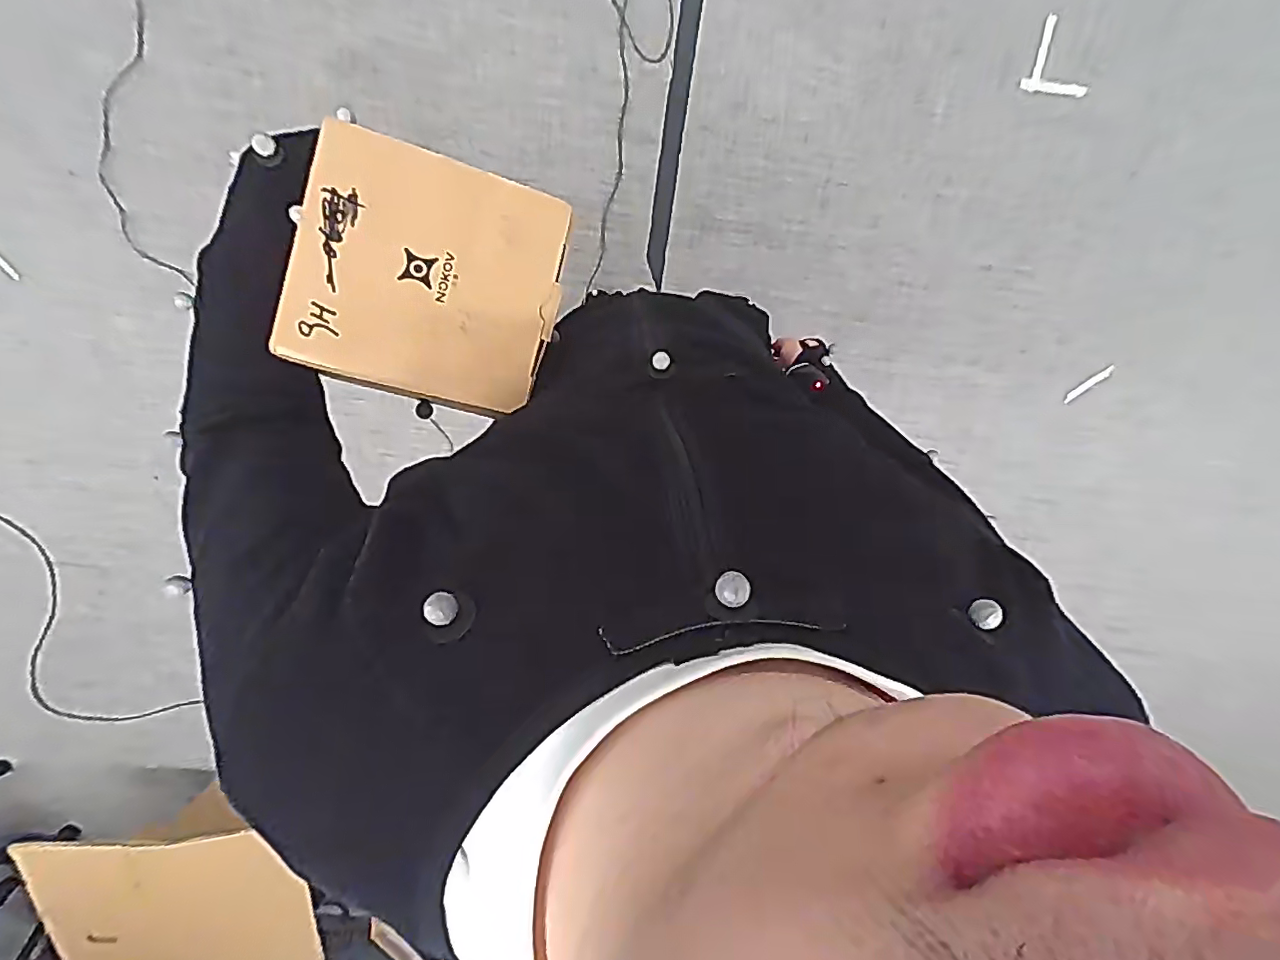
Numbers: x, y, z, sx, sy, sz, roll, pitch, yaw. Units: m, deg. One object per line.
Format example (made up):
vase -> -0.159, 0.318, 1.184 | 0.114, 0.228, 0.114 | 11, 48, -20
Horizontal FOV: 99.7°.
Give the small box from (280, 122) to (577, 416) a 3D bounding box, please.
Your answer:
small box -> -0.168, -0.154, 0.469 | 0.179, 0.176, 0.168 | 13, 90, -15
